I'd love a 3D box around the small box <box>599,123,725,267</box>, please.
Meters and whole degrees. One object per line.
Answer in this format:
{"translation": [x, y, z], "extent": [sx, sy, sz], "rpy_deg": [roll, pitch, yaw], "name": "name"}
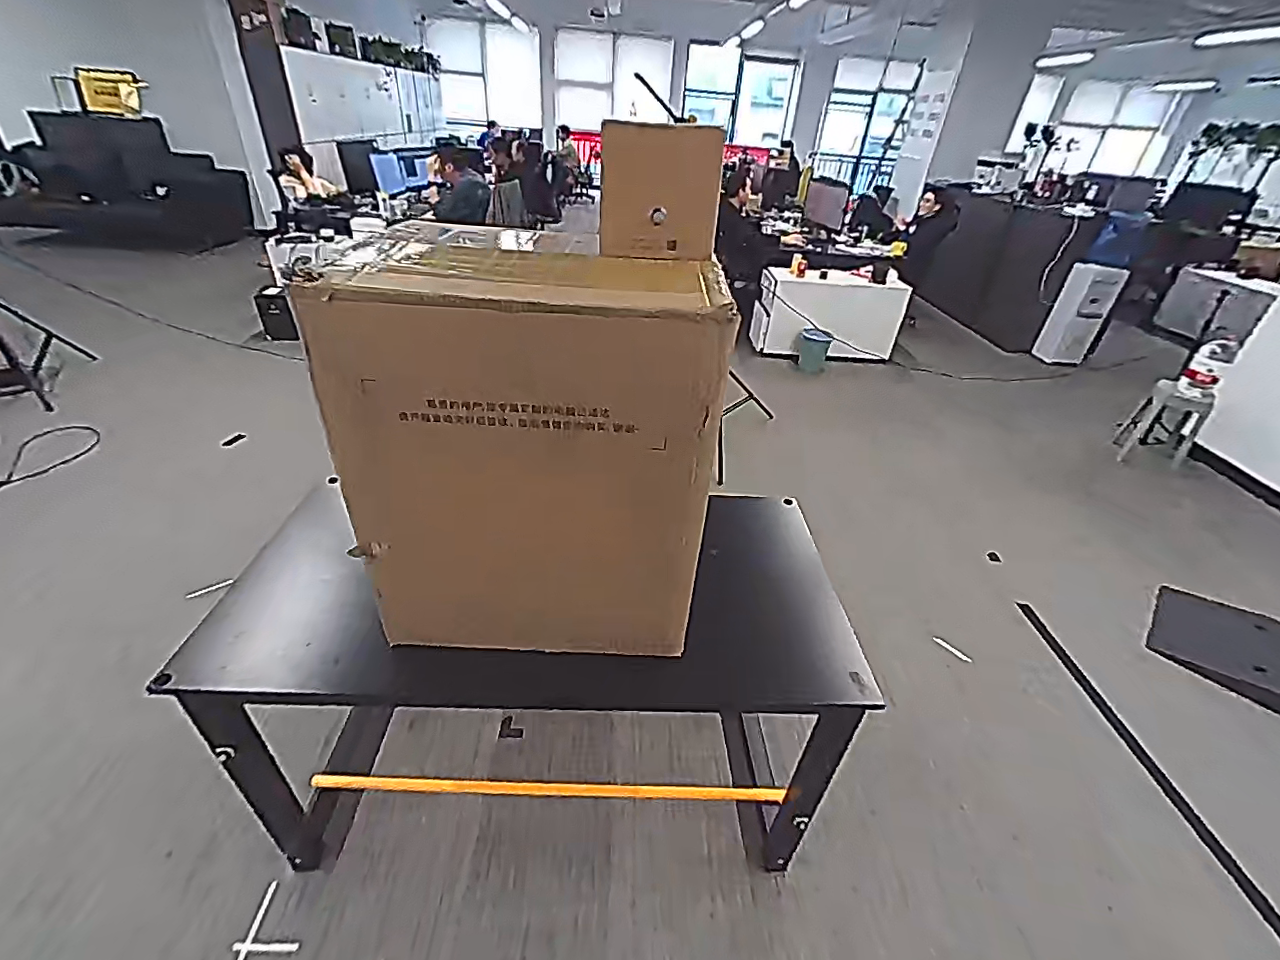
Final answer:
{"translation": [0.025, -0.428, 0.814], "extent": [0.168, 0.176, 0.179], "rpy_deg": [1, 32, -3], "name": "small box"}
